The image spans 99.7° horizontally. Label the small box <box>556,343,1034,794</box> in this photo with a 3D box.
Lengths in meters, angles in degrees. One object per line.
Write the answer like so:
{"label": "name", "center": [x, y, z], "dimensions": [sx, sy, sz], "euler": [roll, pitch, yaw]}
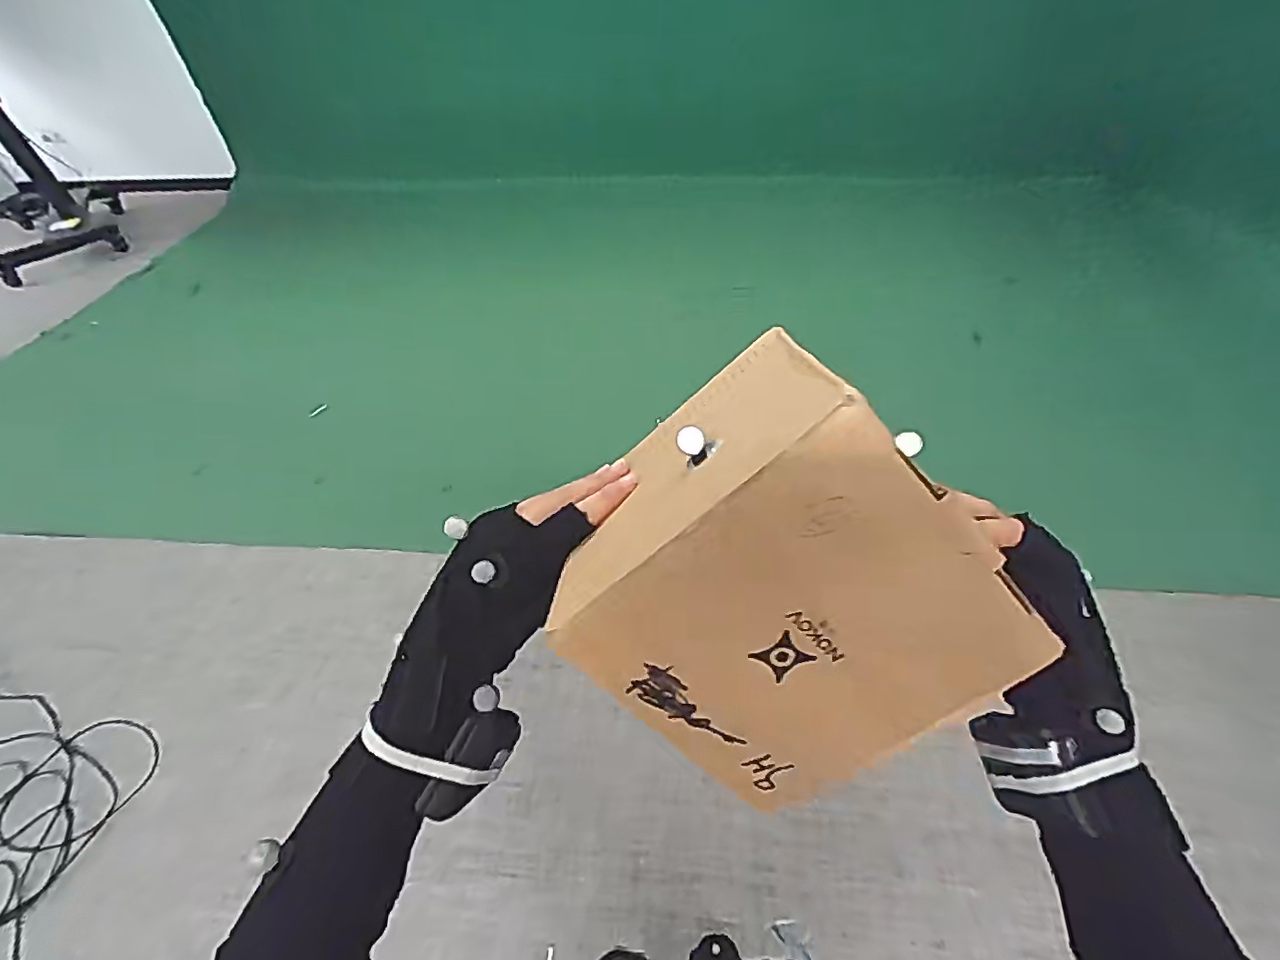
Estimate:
{"label": "small box", "center": [0.075, 0.040, 0.334], "dimensions": [0.179, 0.168, 0.176], "euler": [-41, 16, 19]}
